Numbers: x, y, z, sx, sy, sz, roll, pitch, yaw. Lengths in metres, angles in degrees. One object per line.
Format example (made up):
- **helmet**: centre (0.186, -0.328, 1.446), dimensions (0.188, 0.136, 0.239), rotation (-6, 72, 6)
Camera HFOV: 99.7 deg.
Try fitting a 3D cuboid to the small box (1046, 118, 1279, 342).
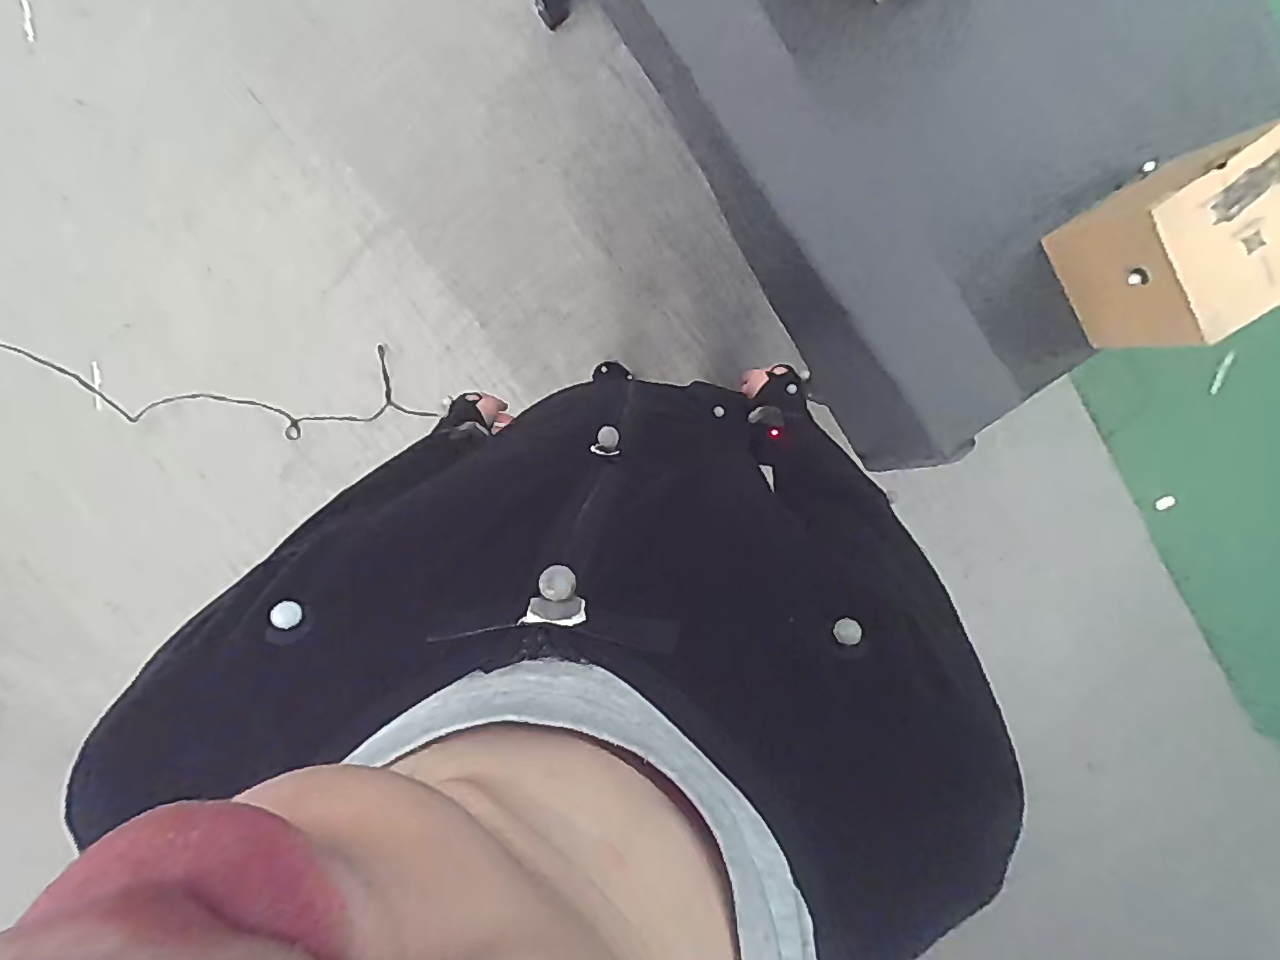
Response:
- **small box**: centre (0.661, -0.286, 0.669), dimensions (0.168, 0.176, 0.179), rotation (-35, 101, 6)
